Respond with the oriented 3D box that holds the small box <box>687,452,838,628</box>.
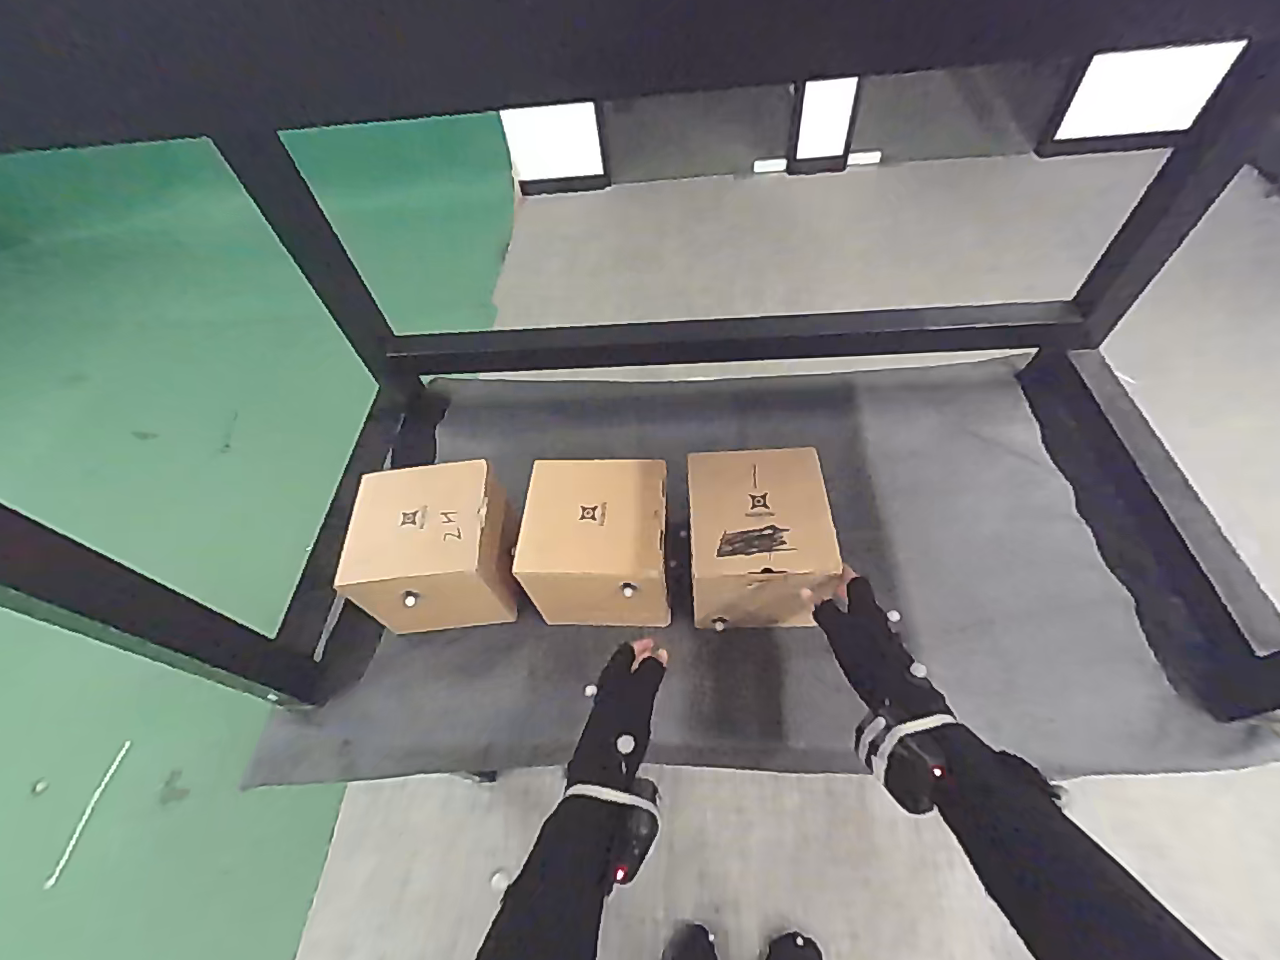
[{"bbox_3d":[0.147,0.084,0.705,0.168,0.176,0.179,-2,54,5],"label":"small box"}]
